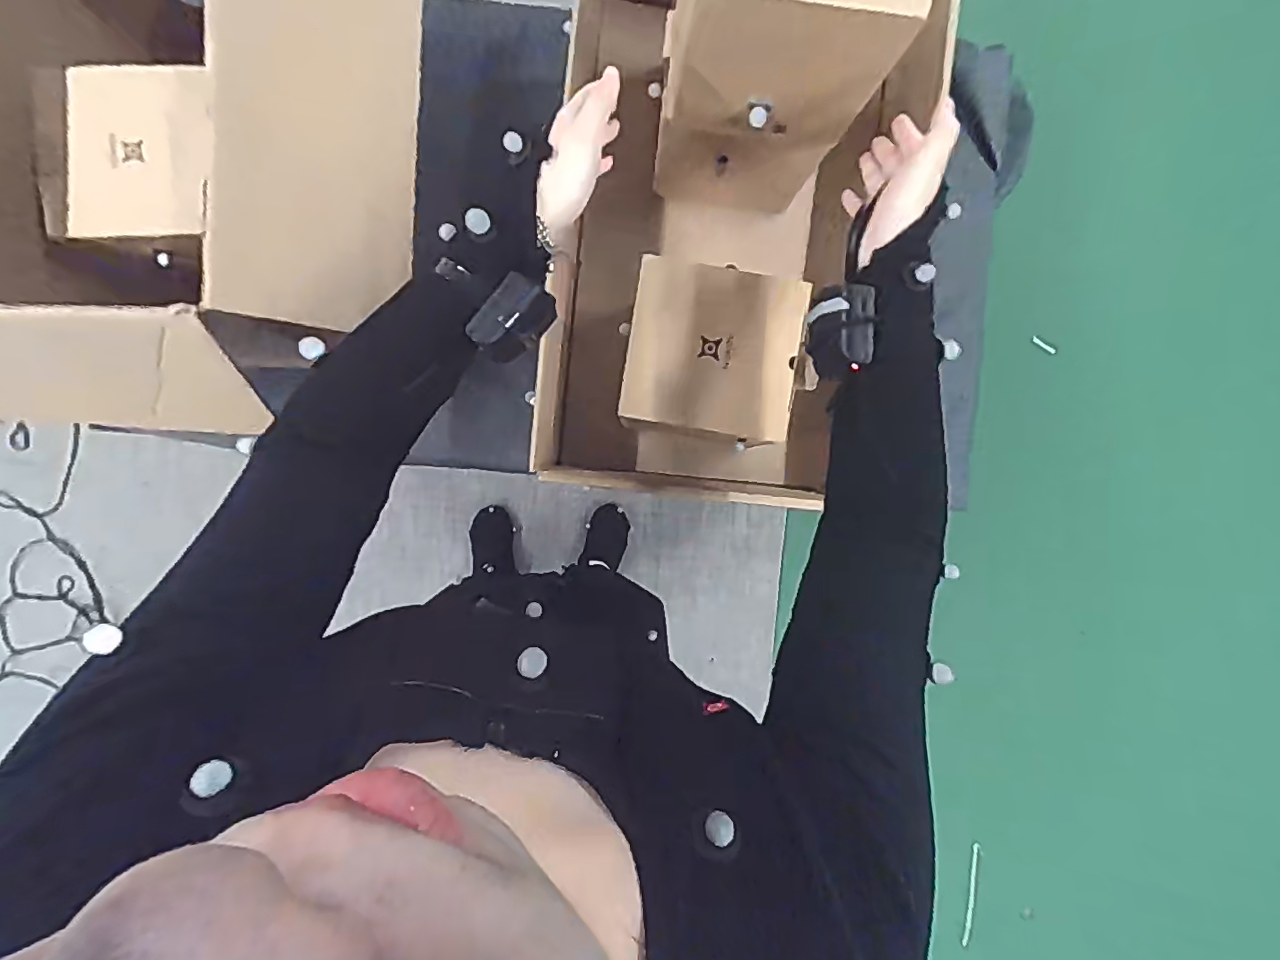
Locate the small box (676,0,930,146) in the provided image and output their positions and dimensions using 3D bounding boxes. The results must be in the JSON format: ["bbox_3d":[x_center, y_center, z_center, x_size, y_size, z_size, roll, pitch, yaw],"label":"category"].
[{"bbox_3d":[0.124,-0.418,0.445,0.168,0.176,0.179,5,95,-3],"label":"small box"}]
